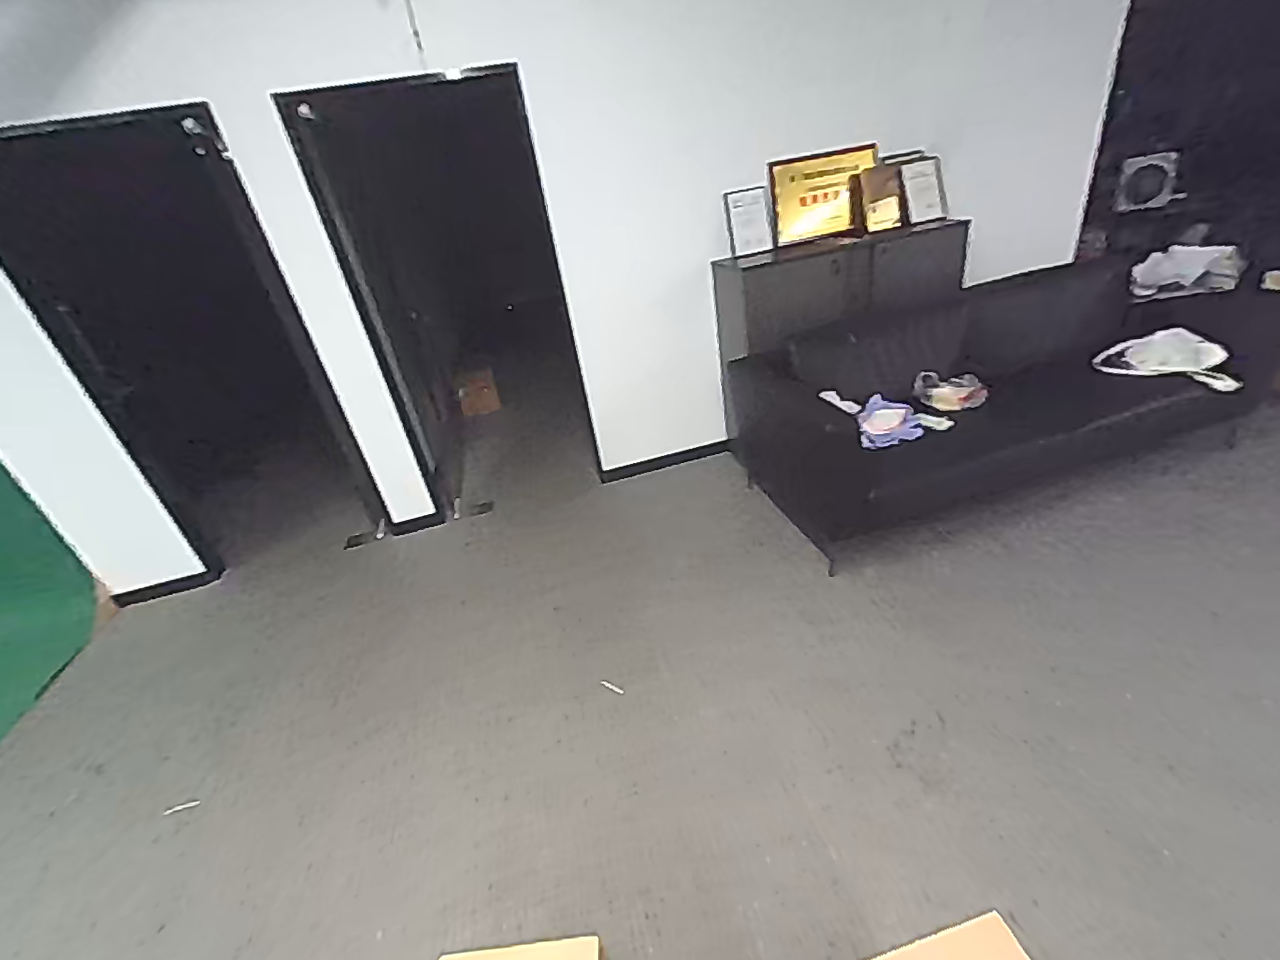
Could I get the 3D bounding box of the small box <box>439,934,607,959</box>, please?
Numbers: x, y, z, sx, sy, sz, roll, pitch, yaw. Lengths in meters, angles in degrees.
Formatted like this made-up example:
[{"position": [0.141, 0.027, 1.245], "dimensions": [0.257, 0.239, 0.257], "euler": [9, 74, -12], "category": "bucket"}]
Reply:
[{"position": [-0.104, 0.570, 0.499], "dimensions": [0.168, 0.176, 0.179], "euler": [-11, 29, 4], "category": "small box"}]
